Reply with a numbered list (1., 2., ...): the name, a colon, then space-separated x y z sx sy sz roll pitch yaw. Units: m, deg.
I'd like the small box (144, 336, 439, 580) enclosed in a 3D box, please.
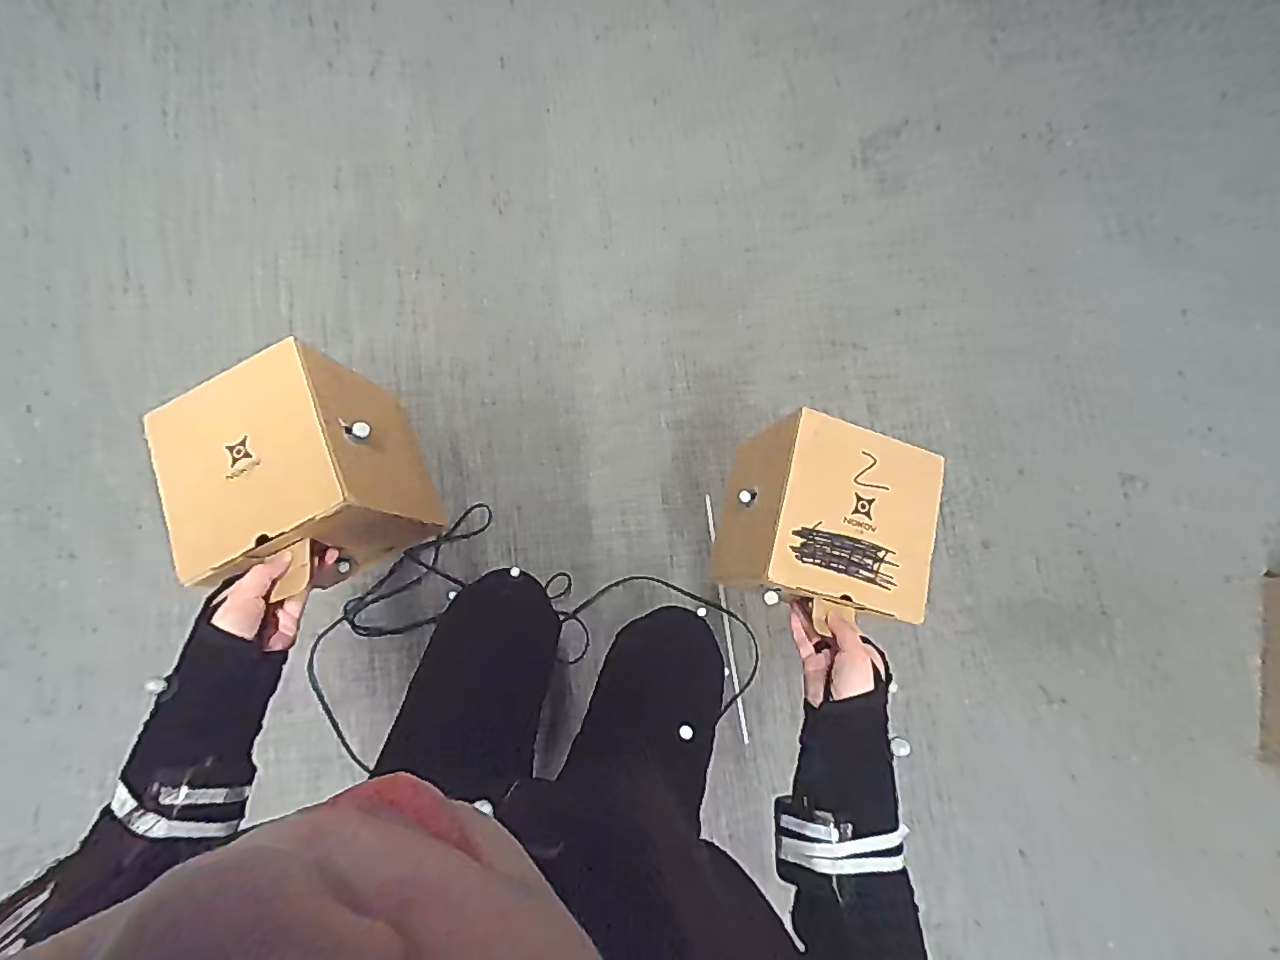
1. small box: -0.341 -0.008 0.556 0.168 0.176 0.179 -27 76 3
